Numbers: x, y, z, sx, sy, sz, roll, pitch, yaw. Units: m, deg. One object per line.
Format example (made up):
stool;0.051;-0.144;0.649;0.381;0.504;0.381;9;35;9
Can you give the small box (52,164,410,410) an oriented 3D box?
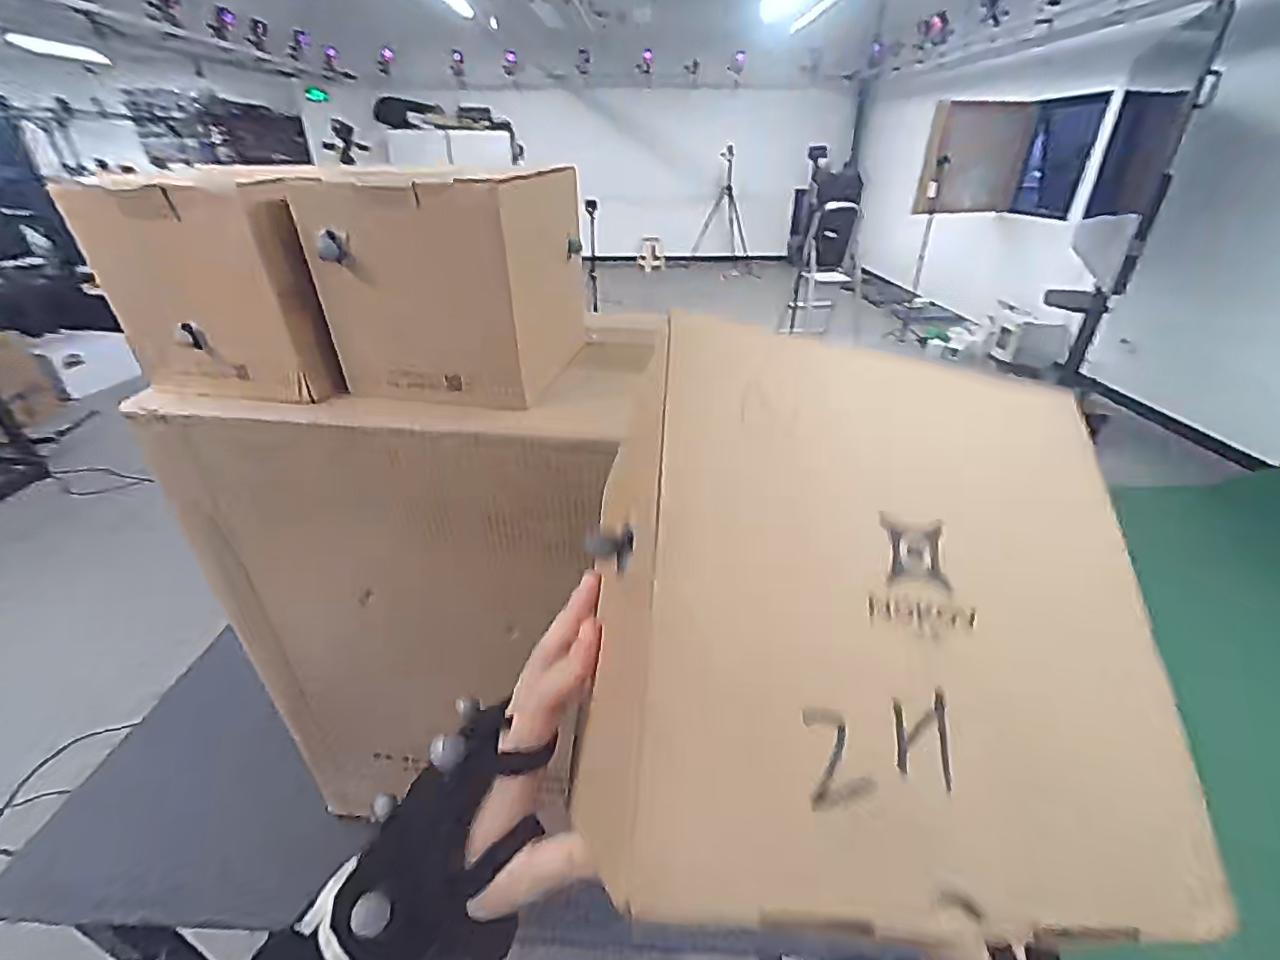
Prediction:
small box;-0.333;-0.181;0.491;0.168;0.176;0.179;6;35;9

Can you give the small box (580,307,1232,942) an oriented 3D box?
small box;0.070;0.061;0.238;0.168;0.176;0.179;9;66;-8
